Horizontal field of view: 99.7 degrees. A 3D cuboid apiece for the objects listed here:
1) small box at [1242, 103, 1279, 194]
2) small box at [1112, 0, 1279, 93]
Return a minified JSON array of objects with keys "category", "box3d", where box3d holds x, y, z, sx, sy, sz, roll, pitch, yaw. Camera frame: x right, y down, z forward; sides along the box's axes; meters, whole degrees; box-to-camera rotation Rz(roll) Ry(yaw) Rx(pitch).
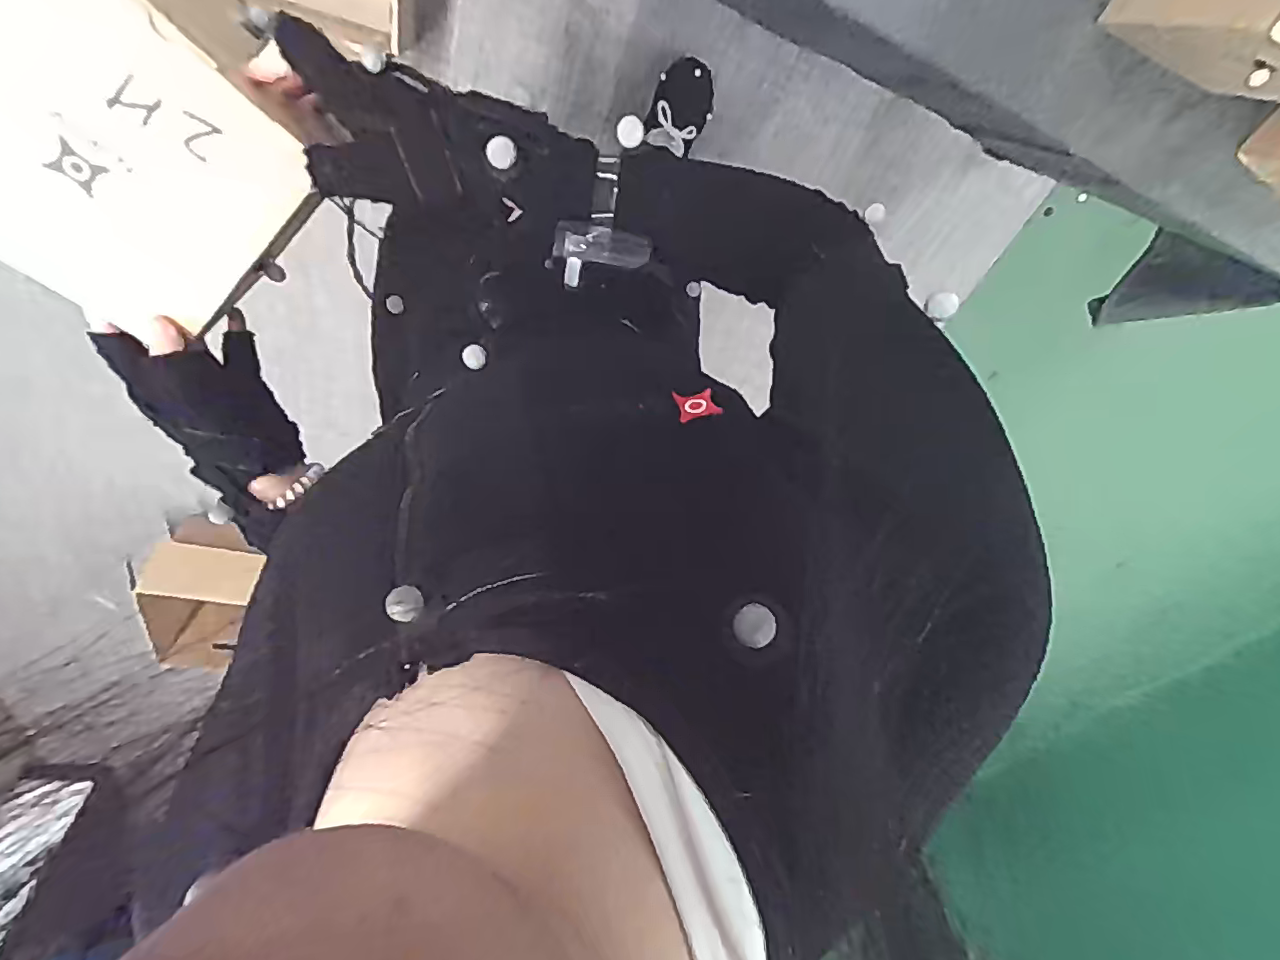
[{"category":"small box","box3d":[0.782,-0.360,0.525,0.168,0.176,0.179,15,127,-21]},{"category":"small box","box3d":[0.548,-0.426,0.428,0.179,0.176,0.168,10,129,-17]}]
